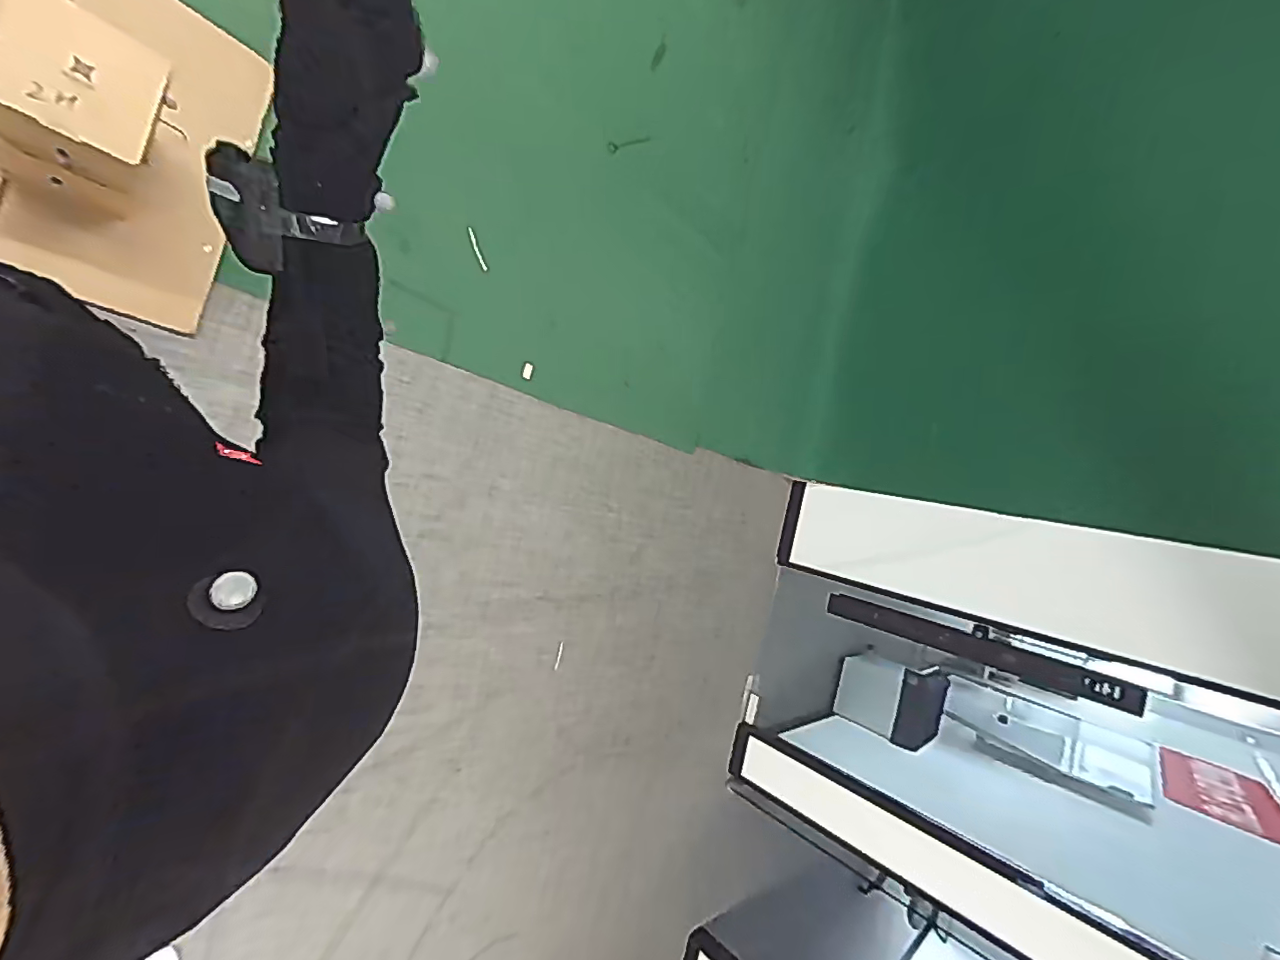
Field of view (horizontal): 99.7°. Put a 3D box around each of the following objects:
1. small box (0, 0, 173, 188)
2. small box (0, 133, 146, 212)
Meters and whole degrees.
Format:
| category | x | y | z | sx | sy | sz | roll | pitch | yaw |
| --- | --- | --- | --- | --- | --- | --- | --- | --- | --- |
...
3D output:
| category | x | y | z | sx | sy | sz | roll | pitch | yaw |
| --- | --- | --- | --- | --- | --- | --- | --- | --- | --- |
| small box | -0.840 | -0.579 | 0.810 | 0.168 | 0.176 | 0.179 | 19 | 85 | -45 |
| small box | -0.960 | -0.593 | 0.924 | 0.168 | 0.176 | 0.179 | 15 | 88 | -46 |
